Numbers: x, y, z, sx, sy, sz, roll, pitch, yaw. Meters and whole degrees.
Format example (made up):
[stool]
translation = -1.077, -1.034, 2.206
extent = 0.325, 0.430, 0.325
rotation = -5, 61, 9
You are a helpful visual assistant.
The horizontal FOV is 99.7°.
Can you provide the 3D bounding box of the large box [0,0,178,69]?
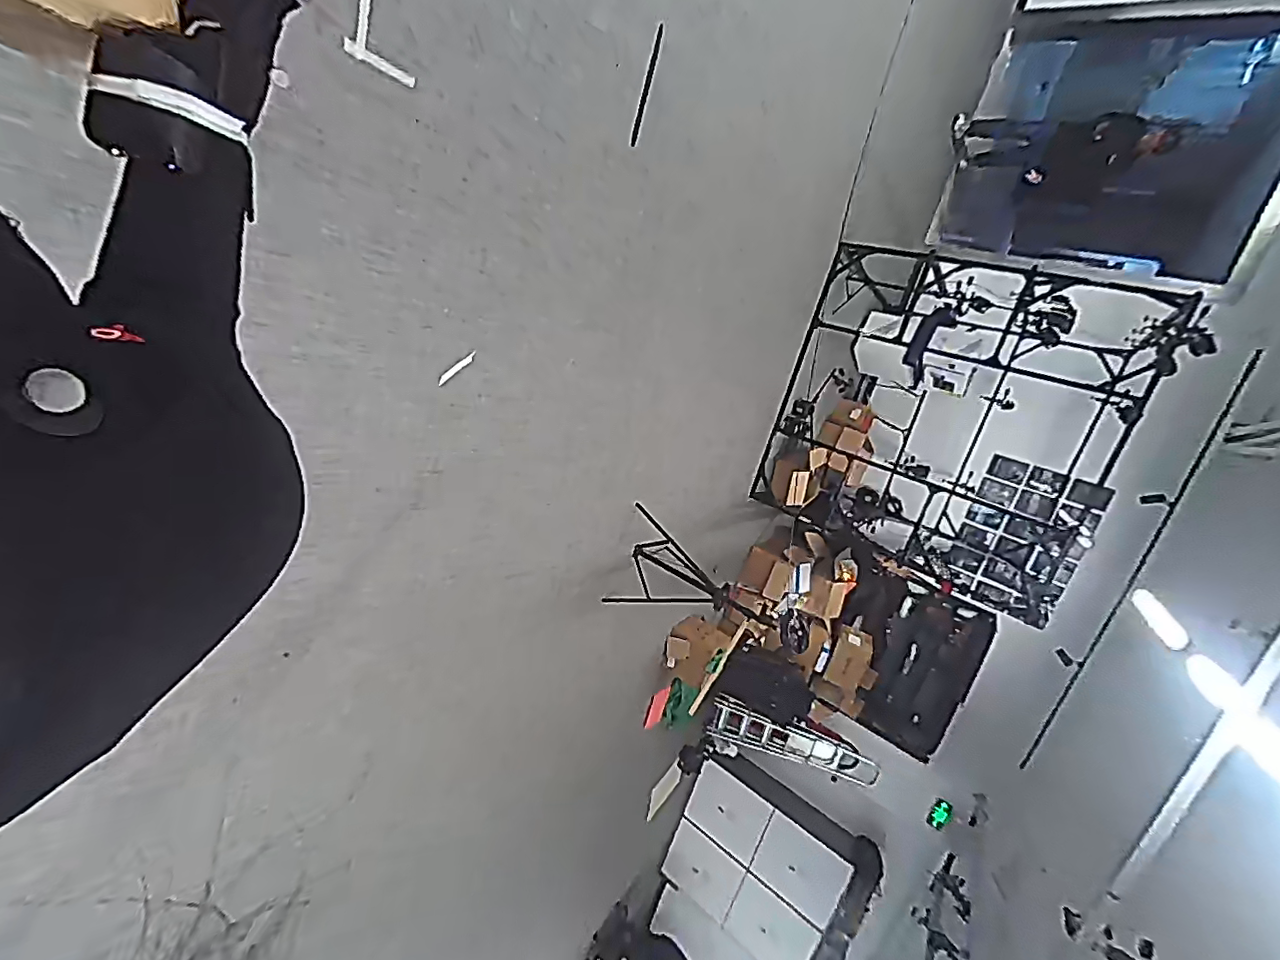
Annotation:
[large box]
translation = -0.493, -0.463, 0.229
extent = 0.408, 0.320, 0.320
rotation = -4, 117, -60
